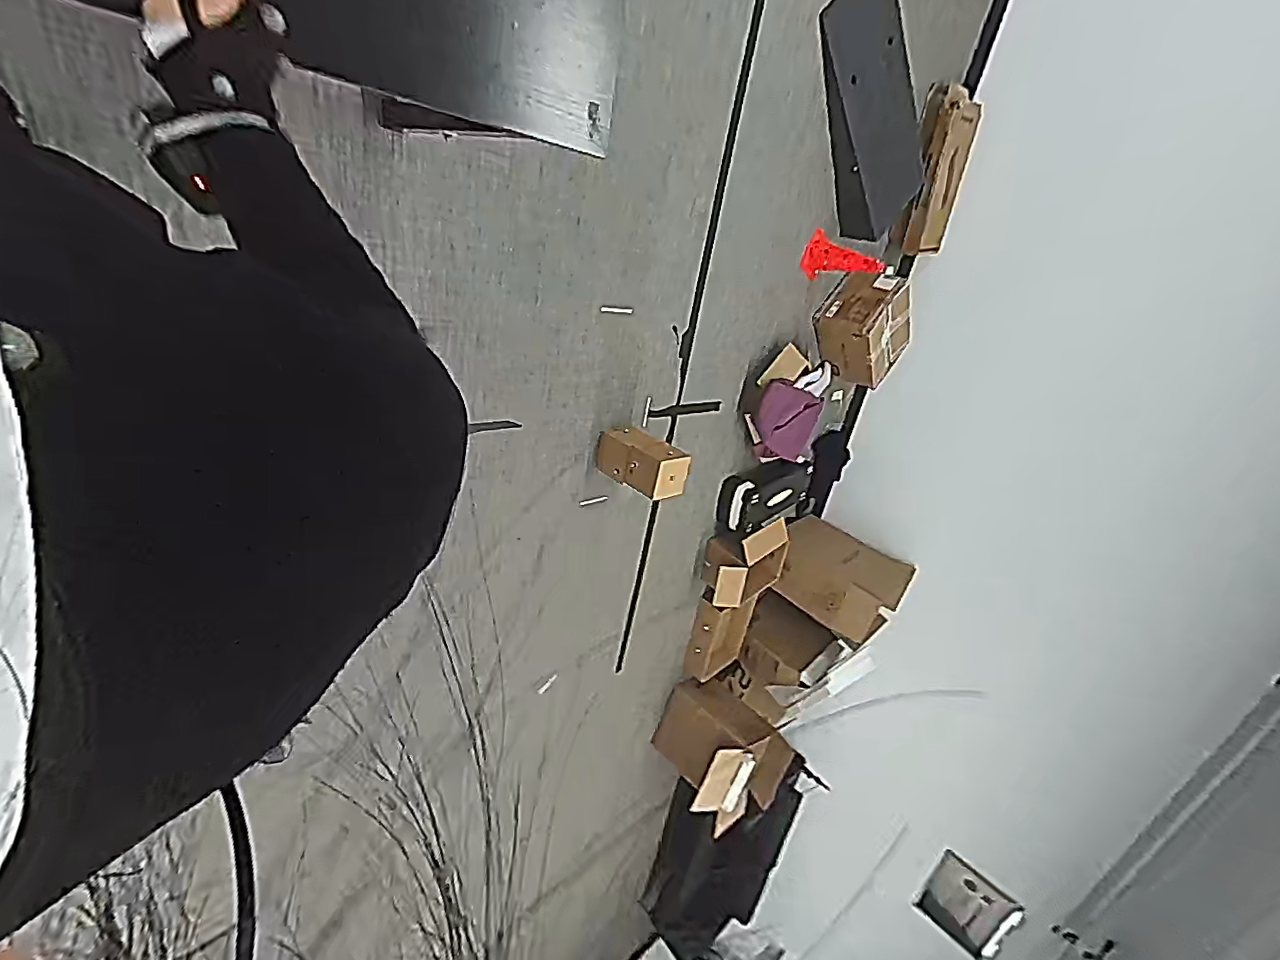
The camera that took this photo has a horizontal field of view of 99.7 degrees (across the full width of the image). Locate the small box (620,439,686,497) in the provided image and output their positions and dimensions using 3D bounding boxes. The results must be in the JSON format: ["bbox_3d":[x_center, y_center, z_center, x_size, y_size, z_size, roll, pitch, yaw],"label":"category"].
[{"bbox_3d":[0.047,-0.052,2.125,0.179,0.176,0.168,-12,123,-43],"label":"small box"}]

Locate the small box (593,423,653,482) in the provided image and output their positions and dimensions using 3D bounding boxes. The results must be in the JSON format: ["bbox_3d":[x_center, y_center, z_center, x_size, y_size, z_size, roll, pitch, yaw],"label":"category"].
[{"bbox_3d":[-0.074,-0.115,2.215,0.168,0.176,0.179,-15,126,-43],"label":"small box"}]
